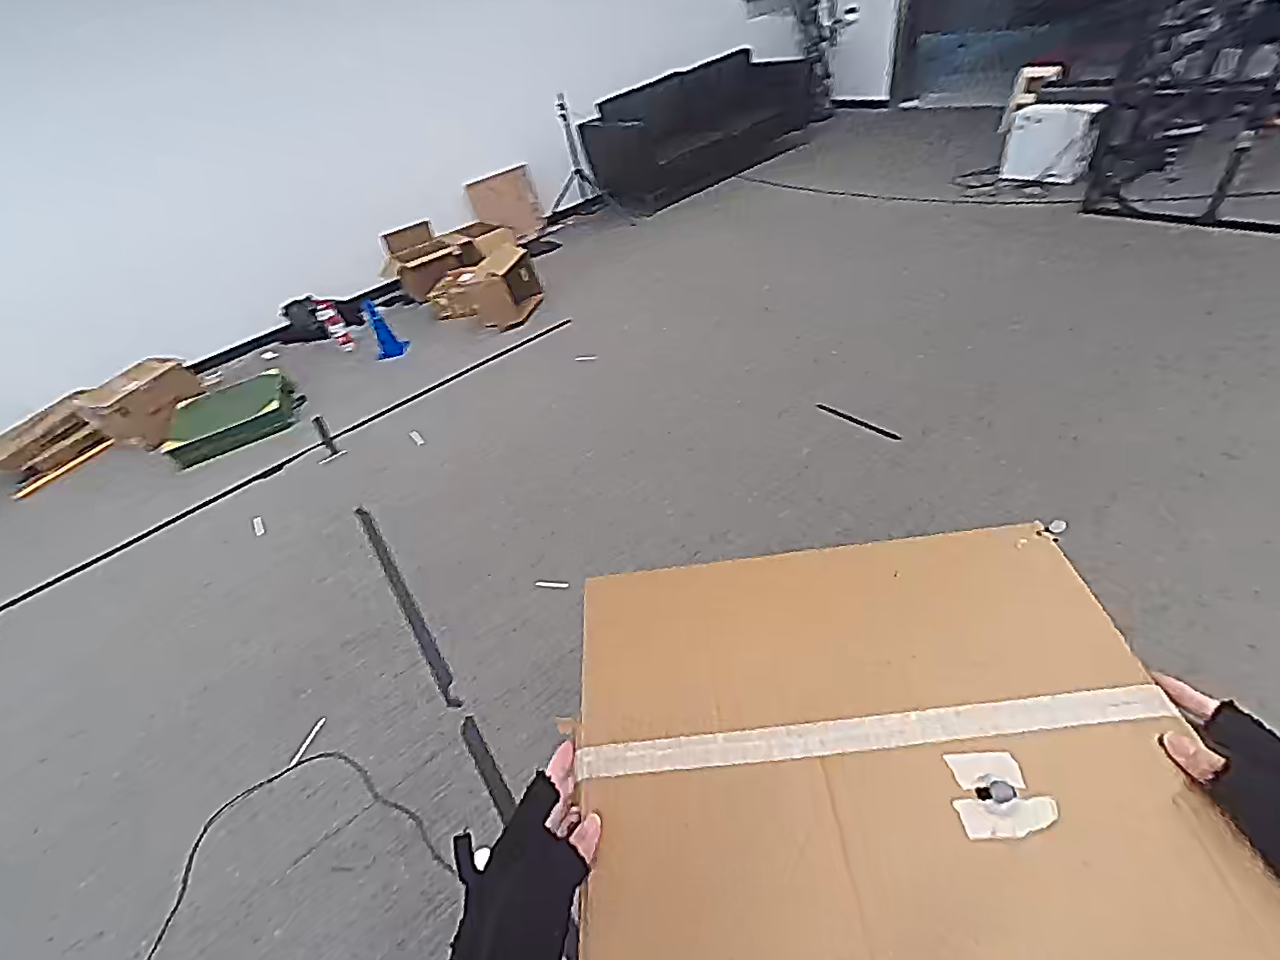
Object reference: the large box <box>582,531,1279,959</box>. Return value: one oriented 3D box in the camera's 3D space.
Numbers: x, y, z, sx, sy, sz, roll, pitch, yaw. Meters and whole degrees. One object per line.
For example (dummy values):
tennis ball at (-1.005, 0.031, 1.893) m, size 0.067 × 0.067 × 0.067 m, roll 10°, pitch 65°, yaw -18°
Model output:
large box at (0.172, 0.286, 0.503) m, size 0.408 × 0.320 × 0.320 m, roll -8°, pitch 48°, yaw 2°
